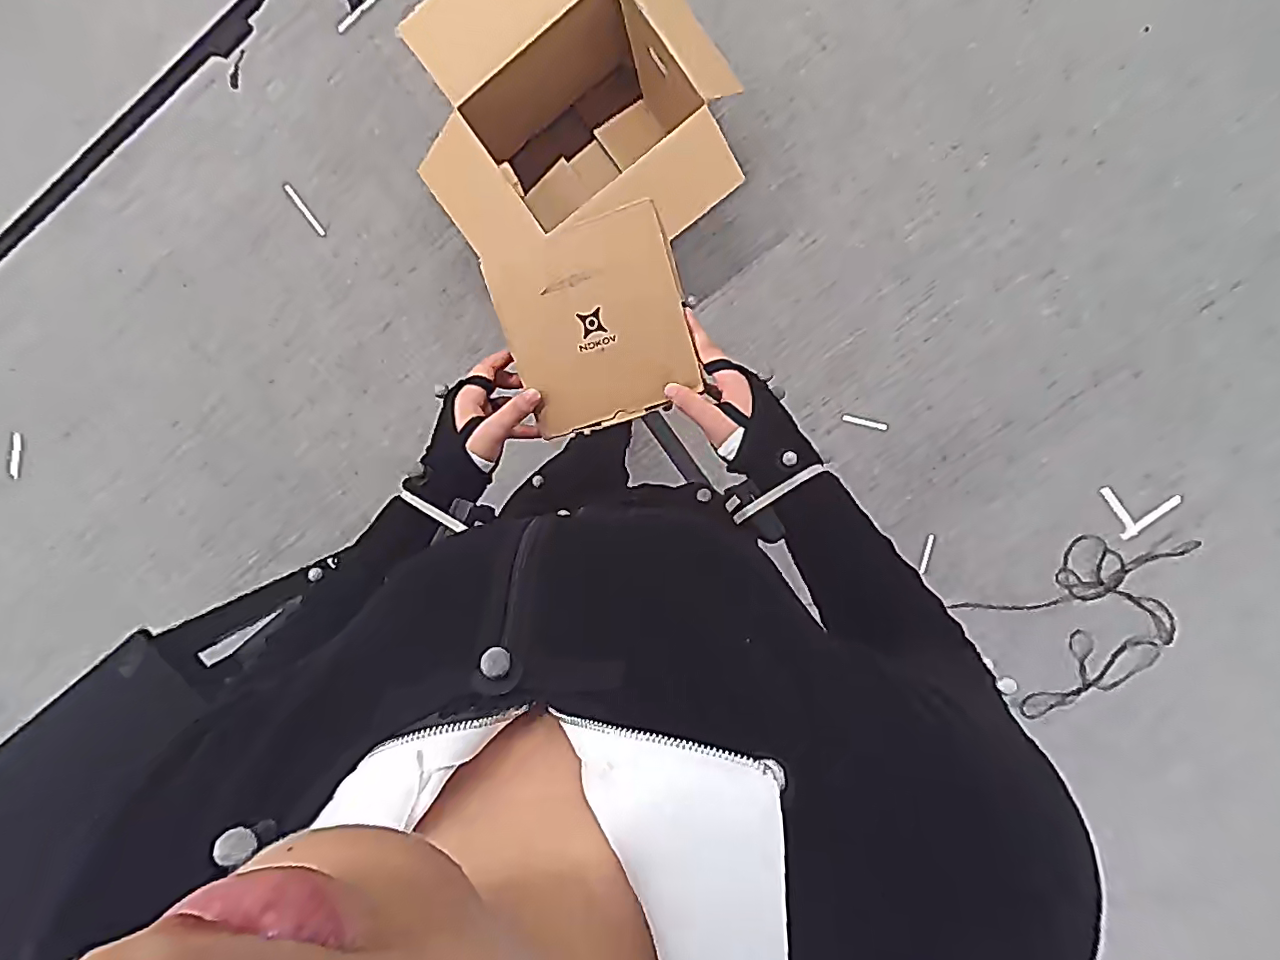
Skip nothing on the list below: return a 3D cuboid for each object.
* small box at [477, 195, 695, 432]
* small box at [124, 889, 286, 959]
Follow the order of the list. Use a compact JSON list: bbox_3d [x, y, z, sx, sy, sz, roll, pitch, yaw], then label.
[{"bbox_3d":[-0.039,-0.170,0.574,0.168,0.176,0.179,-16,104,10],"label":"small box"},{"bbox_3d":[-0.662,0.750,0.774,0.168,0.176,0.179,-36,96,6],"label":"small box"}]
